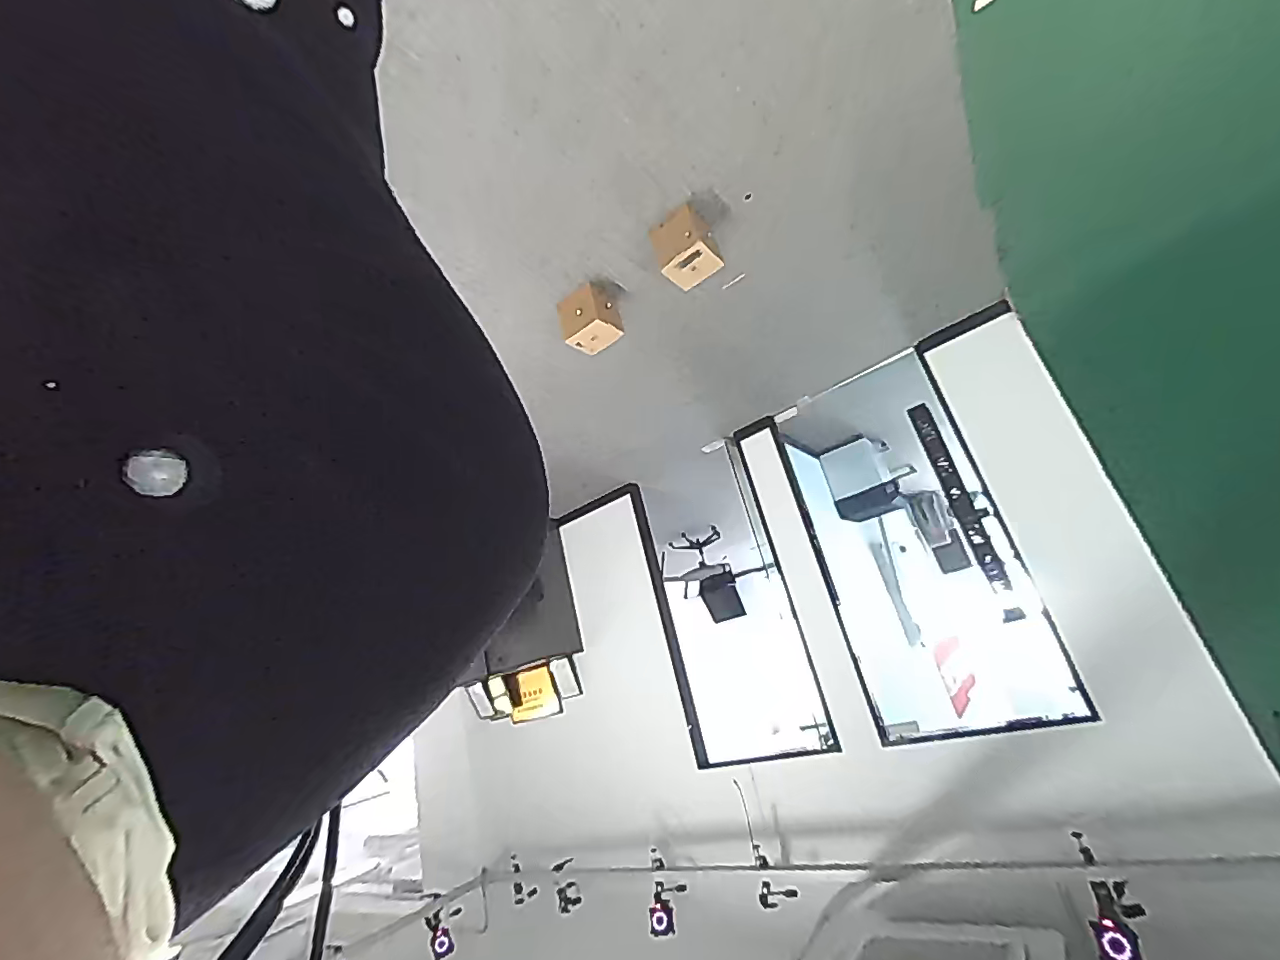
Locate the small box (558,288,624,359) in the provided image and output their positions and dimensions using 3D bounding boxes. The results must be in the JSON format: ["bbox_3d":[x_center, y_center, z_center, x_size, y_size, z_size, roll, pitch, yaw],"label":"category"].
[{"bbox_3d":[-0.192,-0.595,2.058,0.179,0.176,0.168,-27,157,30],"label":"small box"}]
